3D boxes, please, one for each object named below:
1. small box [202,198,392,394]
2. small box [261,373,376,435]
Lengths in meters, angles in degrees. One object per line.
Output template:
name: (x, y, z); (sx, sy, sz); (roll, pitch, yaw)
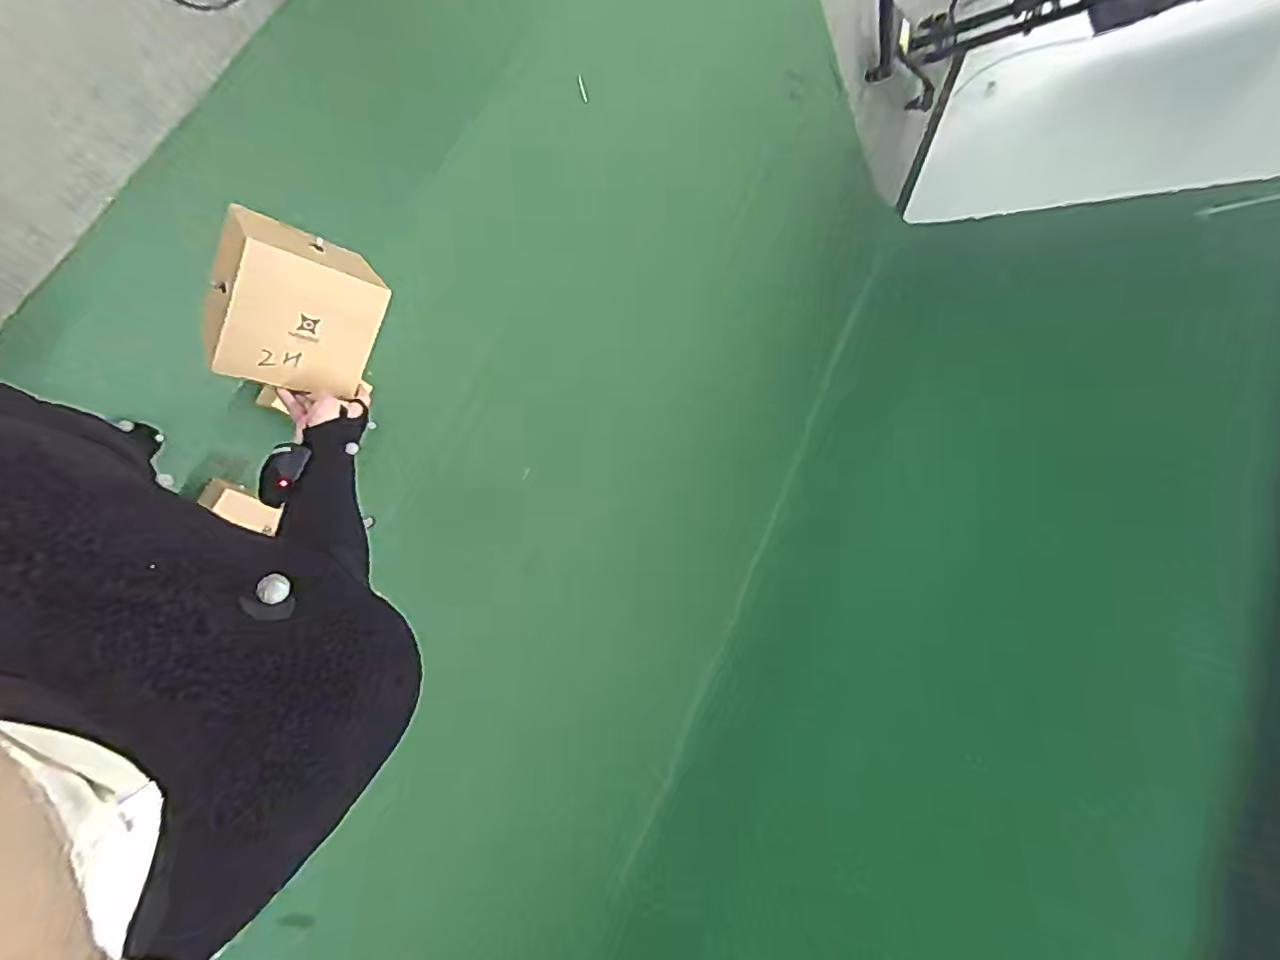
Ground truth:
small box: (-0.469, -0.247, 0.732); (0.168, 0.176, 0.179); (11, 117, -47)
small box: (-0.833, -0.232, 1.395); (0.179, 0.176, 0.168); (37, 72, -46)
